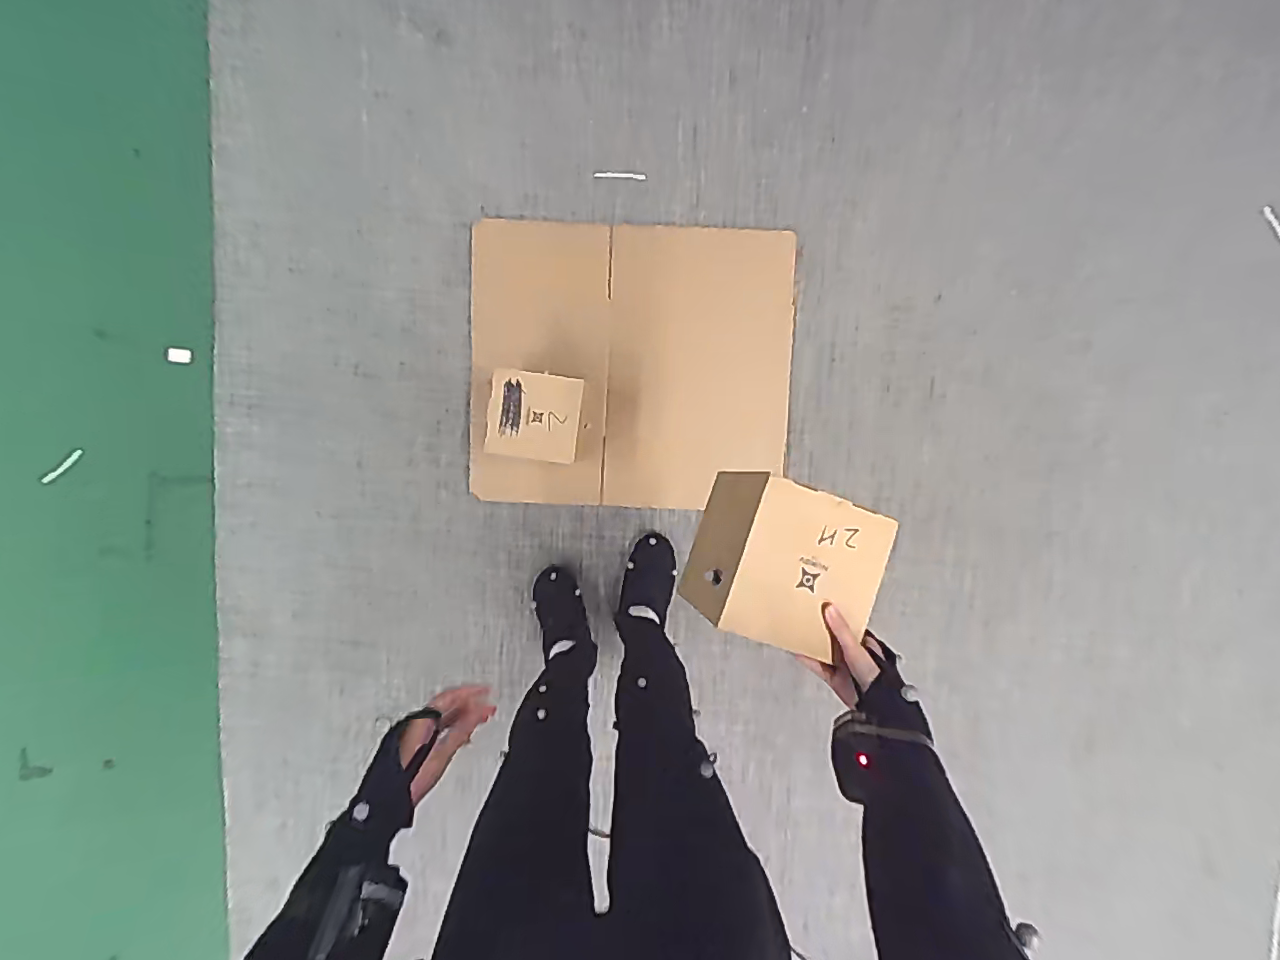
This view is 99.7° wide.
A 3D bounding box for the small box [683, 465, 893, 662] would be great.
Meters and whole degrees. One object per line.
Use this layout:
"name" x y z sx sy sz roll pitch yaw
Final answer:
"small box" 0.164 0.091 0.662 0.168 0.176 0.179 20 86 -10
